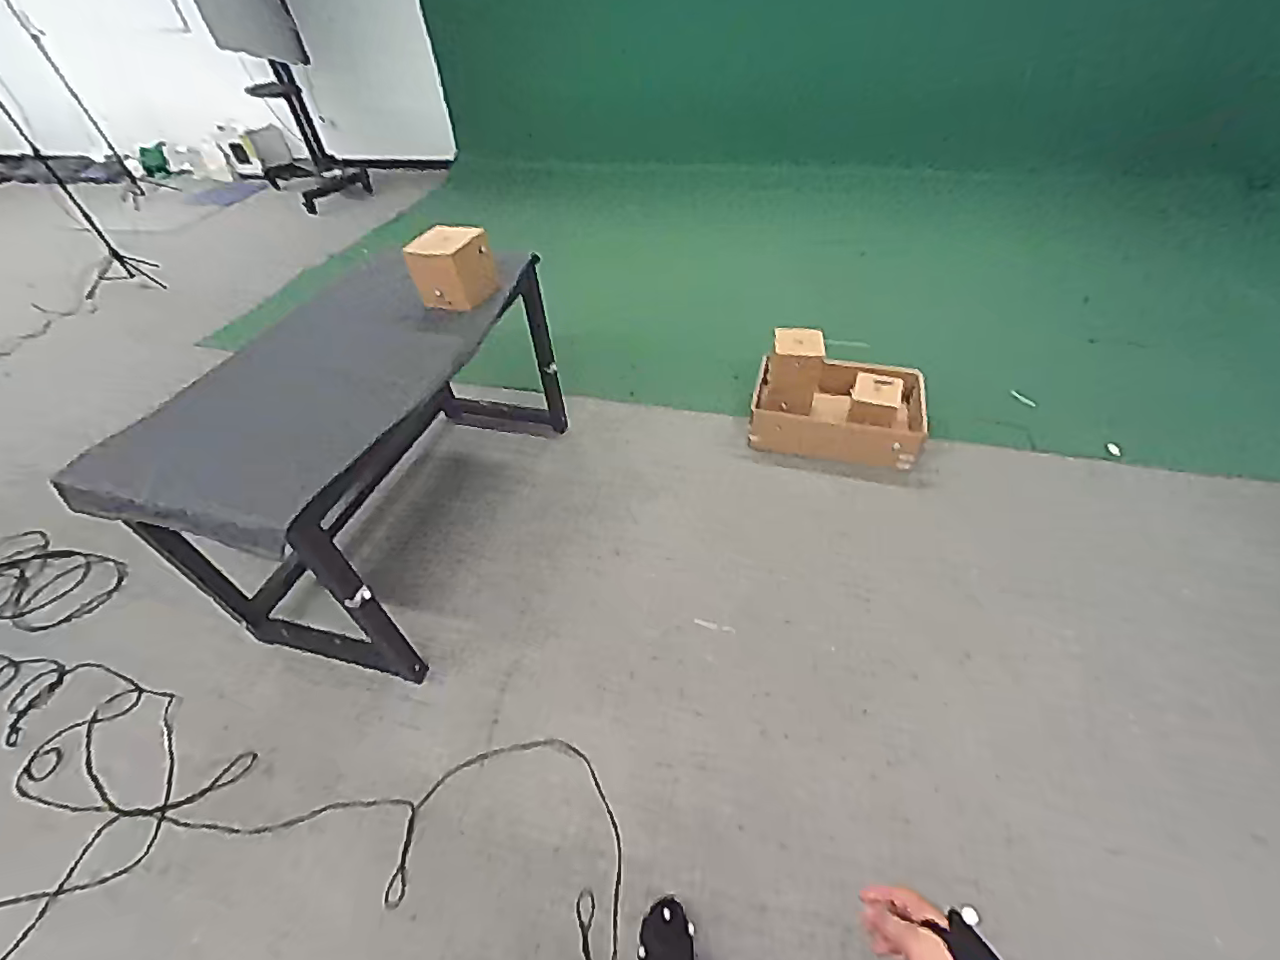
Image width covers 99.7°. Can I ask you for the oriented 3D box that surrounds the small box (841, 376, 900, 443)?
[{"bbox_3d":[0.889,-0.273,2.092,0.168,0.176,0.179,15,50,19],"label":"small box"}]

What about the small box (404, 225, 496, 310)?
[{"bbox_3d":[-0.539,-0.616,1.566,0.168,0.176,0.179,12,49,18],"label":"small box"}]

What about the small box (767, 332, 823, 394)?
[{"bbox_3d":[0.580,-0.441,2.045,0.179,0.176,0.168,5,48,6],"label":"small box"}]

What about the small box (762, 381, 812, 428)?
[{"bbox_3d":[0.592,-0.327,2.163,0.179,0.176,0.168,11,49,15],"label":"small box"}]
